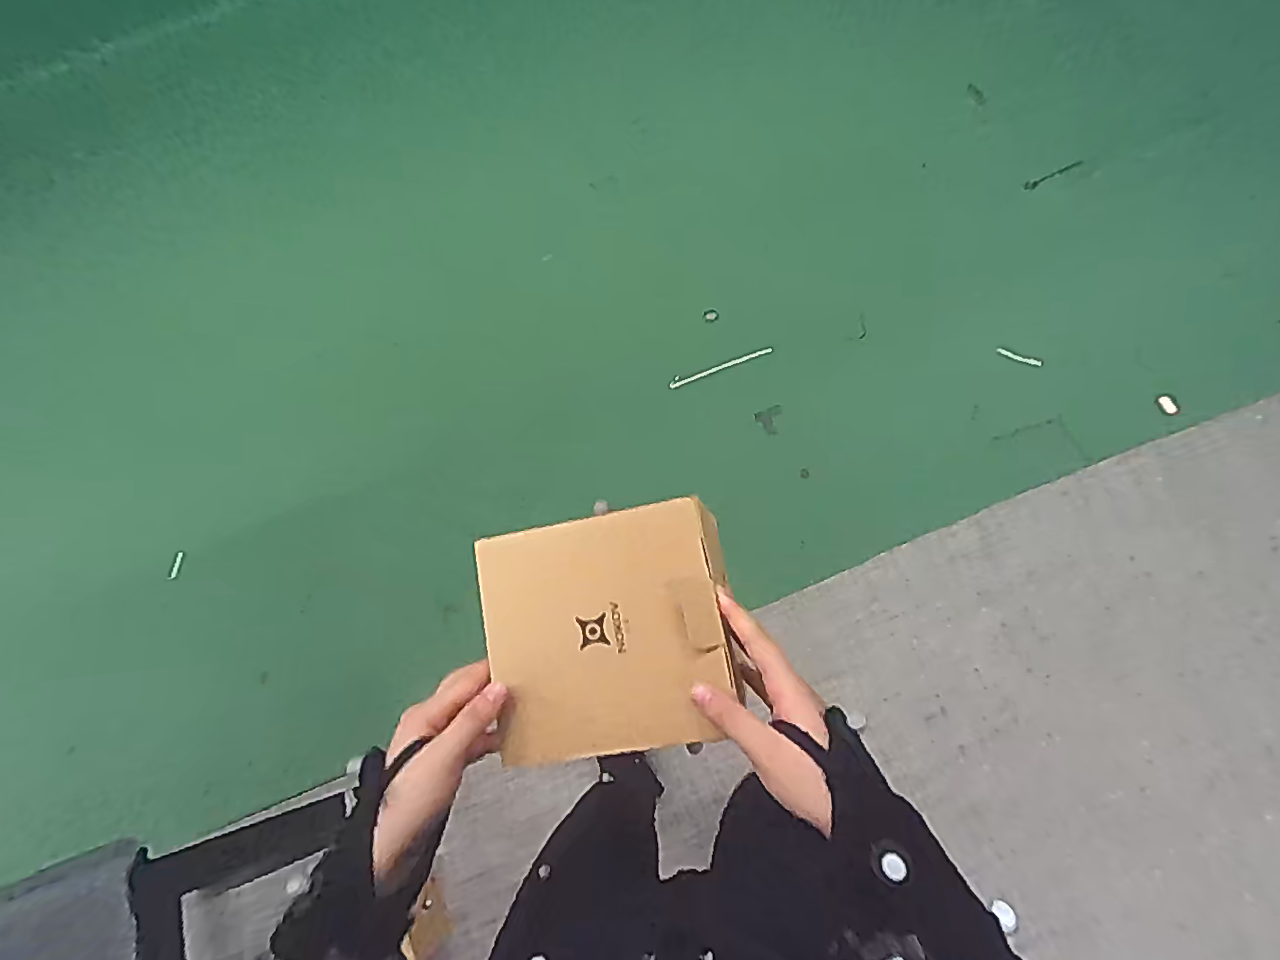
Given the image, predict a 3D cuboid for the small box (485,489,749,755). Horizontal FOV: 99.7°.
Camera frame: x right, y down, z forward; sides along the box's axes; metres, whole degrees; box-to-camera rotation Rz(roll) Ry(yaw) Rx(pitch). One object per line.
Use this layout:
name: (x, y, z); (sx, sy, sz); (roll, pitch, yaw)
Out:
small box: (-0.008, 0.114, 0.463); (0.179, 0.176, 0.168); (-12, 79, 8)

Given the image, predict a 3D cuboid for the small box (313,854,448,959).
small box: (-0.512, 0.902, 1.096); (0.179, 0.176, 0.168); (-27, 70, -5)
